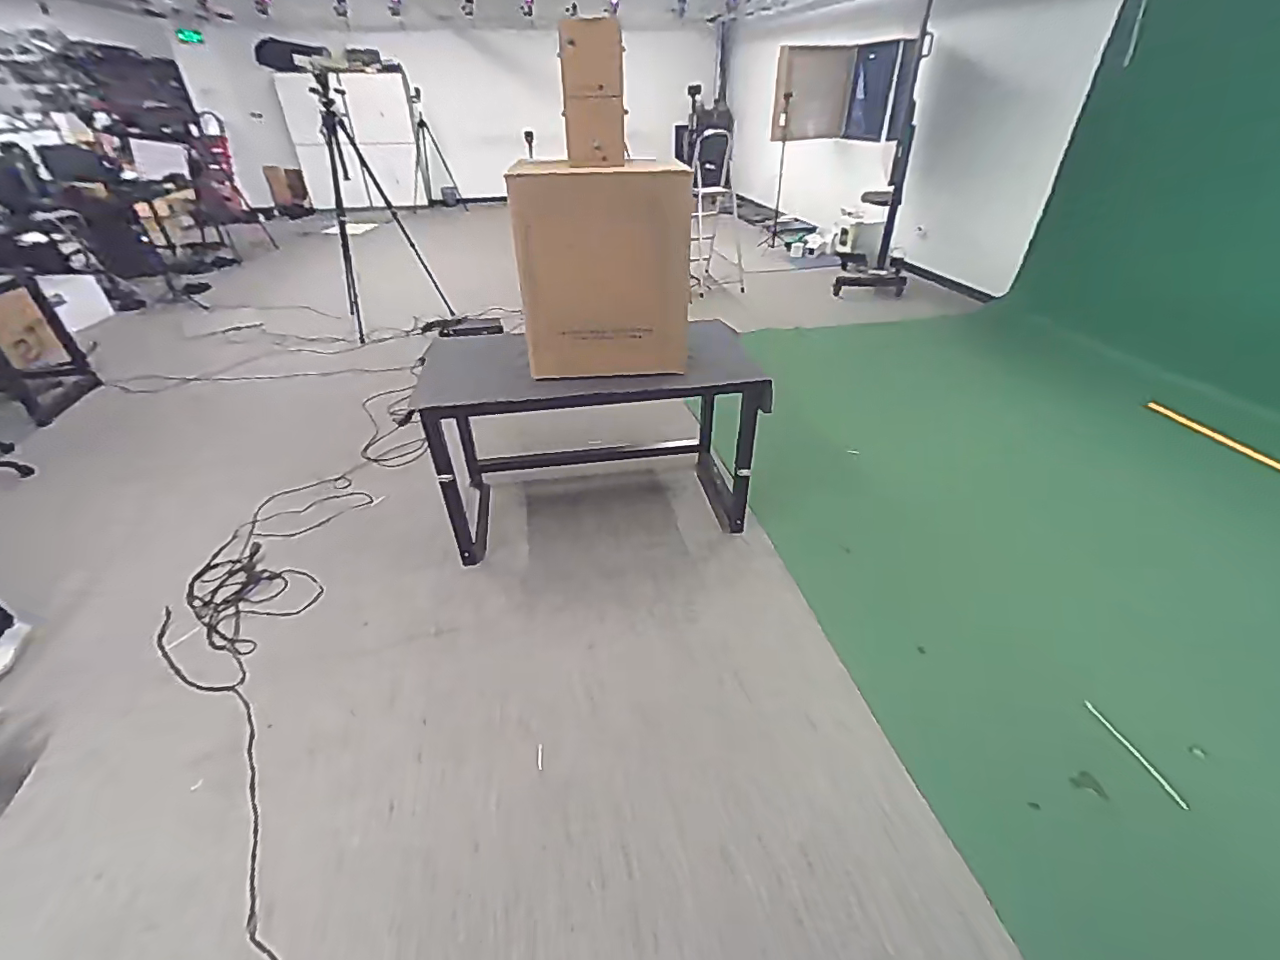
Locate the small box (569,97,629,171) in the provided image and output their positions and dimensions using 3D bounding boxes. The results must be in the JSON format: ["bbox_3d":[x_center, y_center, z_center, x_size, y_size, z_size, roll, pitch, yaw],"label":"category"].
[{"bbox_3d":[-0.117,-1.016,1.585,0.168,0.176,0.179,-2,37,-3],"label":"small box"}]
